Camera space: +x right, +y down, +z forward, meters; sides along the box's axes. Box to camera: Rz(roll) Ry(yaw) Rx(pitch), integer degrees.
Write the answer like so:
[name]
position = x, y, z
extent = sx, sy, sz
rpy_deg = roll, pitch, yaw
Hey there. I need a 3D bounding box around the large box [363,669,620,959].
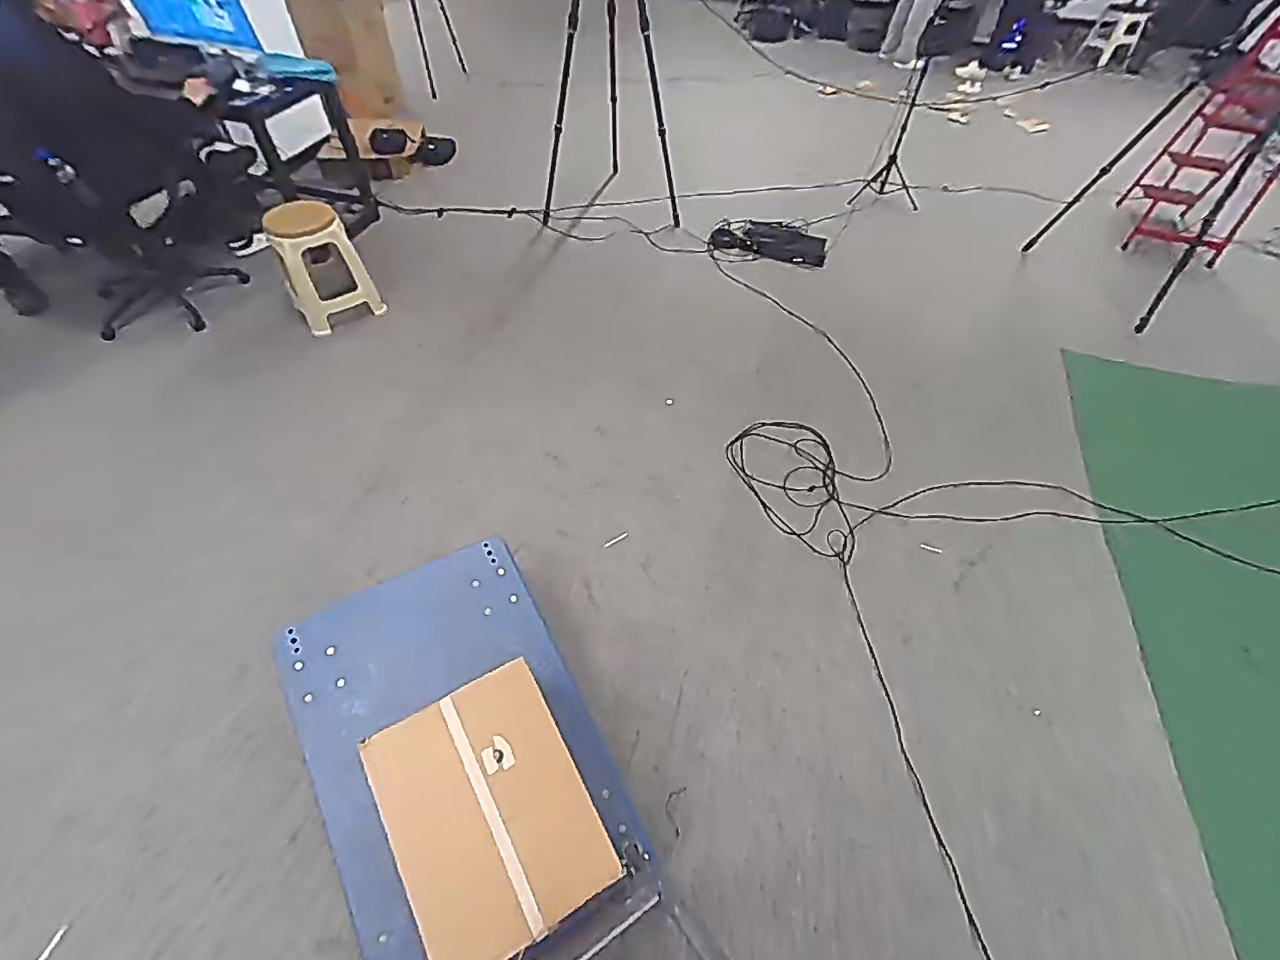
[large box]
position = -0.279, 0.651, 1.067
extent = 0.320, 0.320, 0.408
rpy_deg = -24, 68, -21
